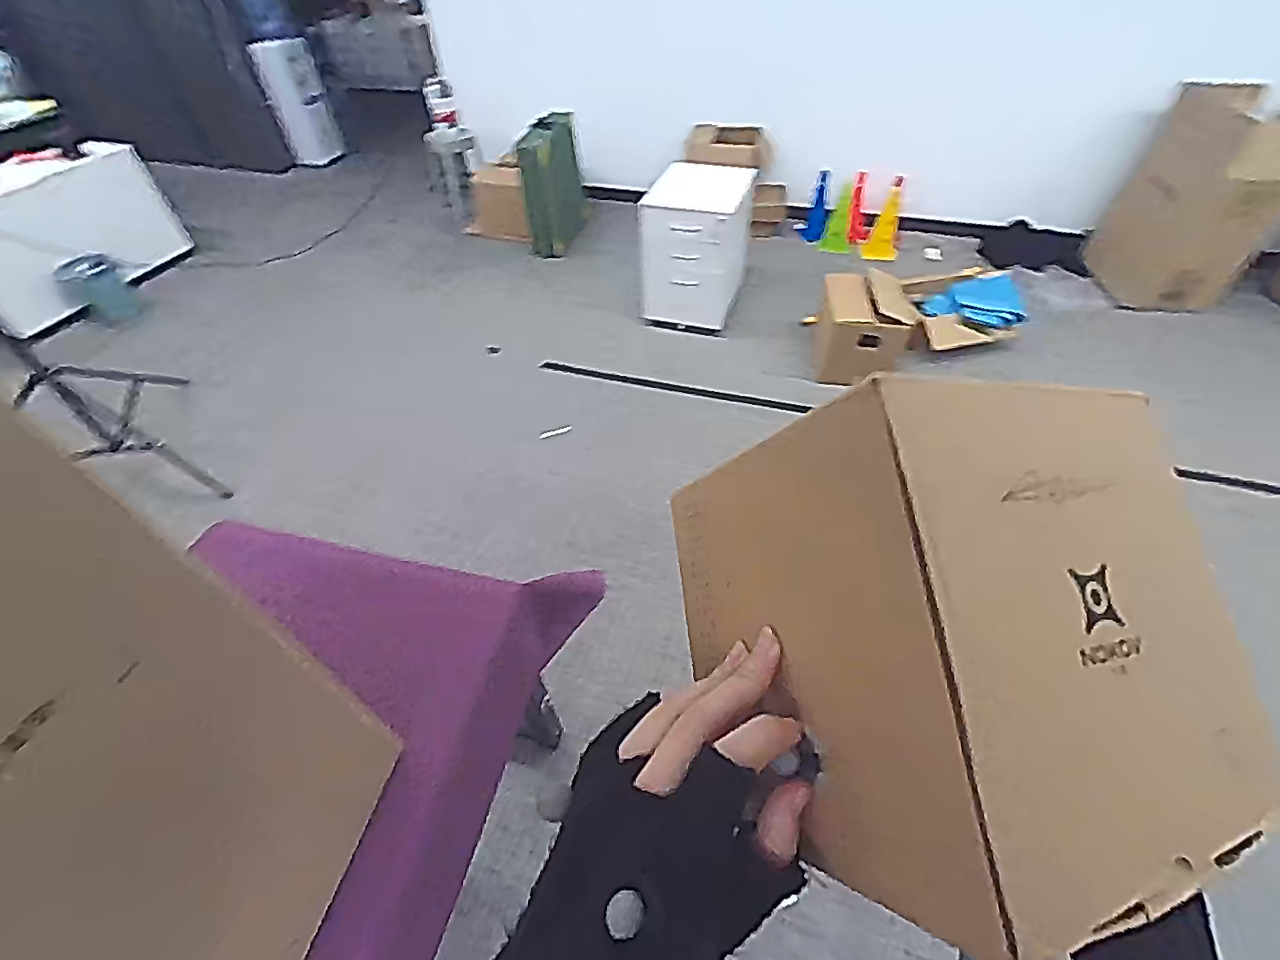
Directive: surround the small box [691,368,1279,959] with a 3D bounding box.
[{"bbox_3d":[0.141,0.066,0.261,0.168,0.176,0.179,-1,74,-23],"label":"small box"}]
